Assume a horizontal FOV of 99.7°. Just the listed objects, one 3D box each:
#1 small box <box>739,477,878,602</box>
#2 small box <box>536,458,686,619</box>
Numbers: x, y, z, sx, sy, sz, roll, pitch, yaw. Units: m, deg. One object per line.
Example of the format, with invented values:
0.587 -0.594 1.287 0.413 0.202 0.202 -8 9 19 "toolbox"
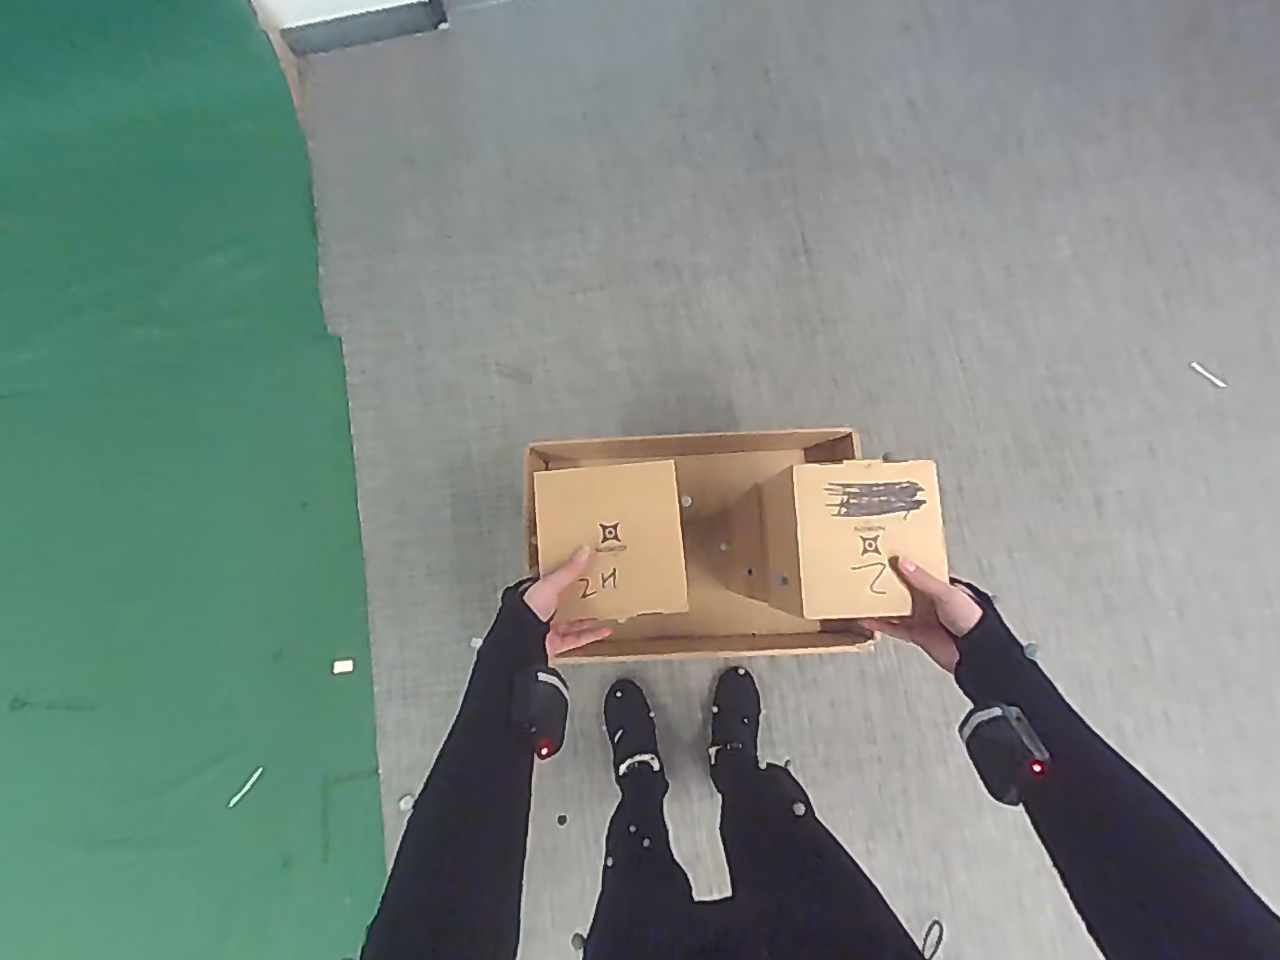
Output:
0.250 0.095 0.843 0.168 0.176 0.179 -2 80 1 "small box"
-0.034 0.079 0.695 0.168 0.176 0.179 -5 81 1 "small box"
